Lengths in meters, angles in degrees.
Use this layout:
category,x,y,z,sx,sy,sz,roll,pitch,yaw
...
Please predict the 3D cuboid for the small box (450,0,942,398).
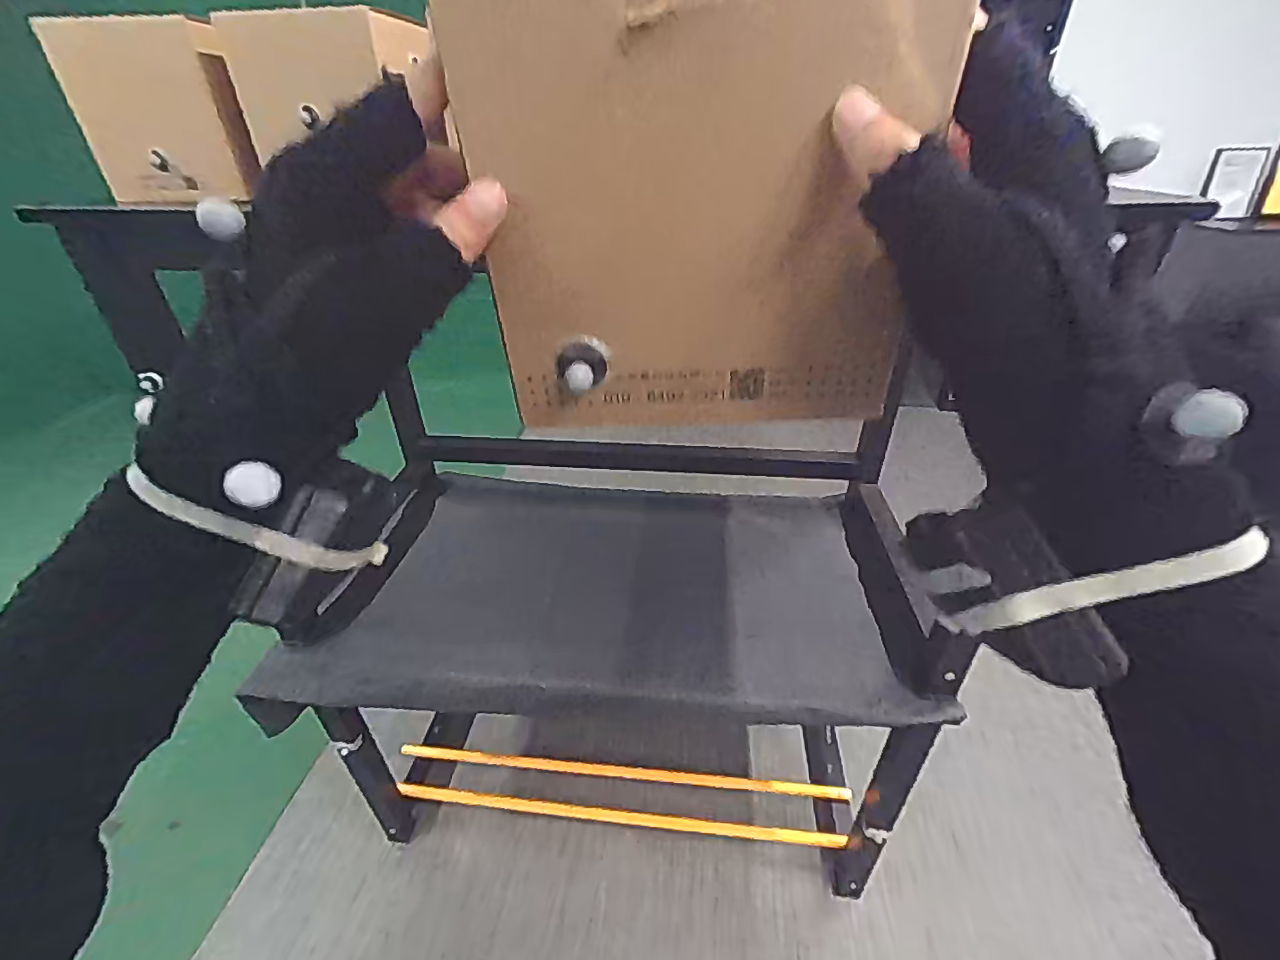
category,x,y,z,sx,sy,sz,roll,pitch,yaw
small box,0.027,-0.151,0.278,0.168,0.176,0.179,-1,36,3
